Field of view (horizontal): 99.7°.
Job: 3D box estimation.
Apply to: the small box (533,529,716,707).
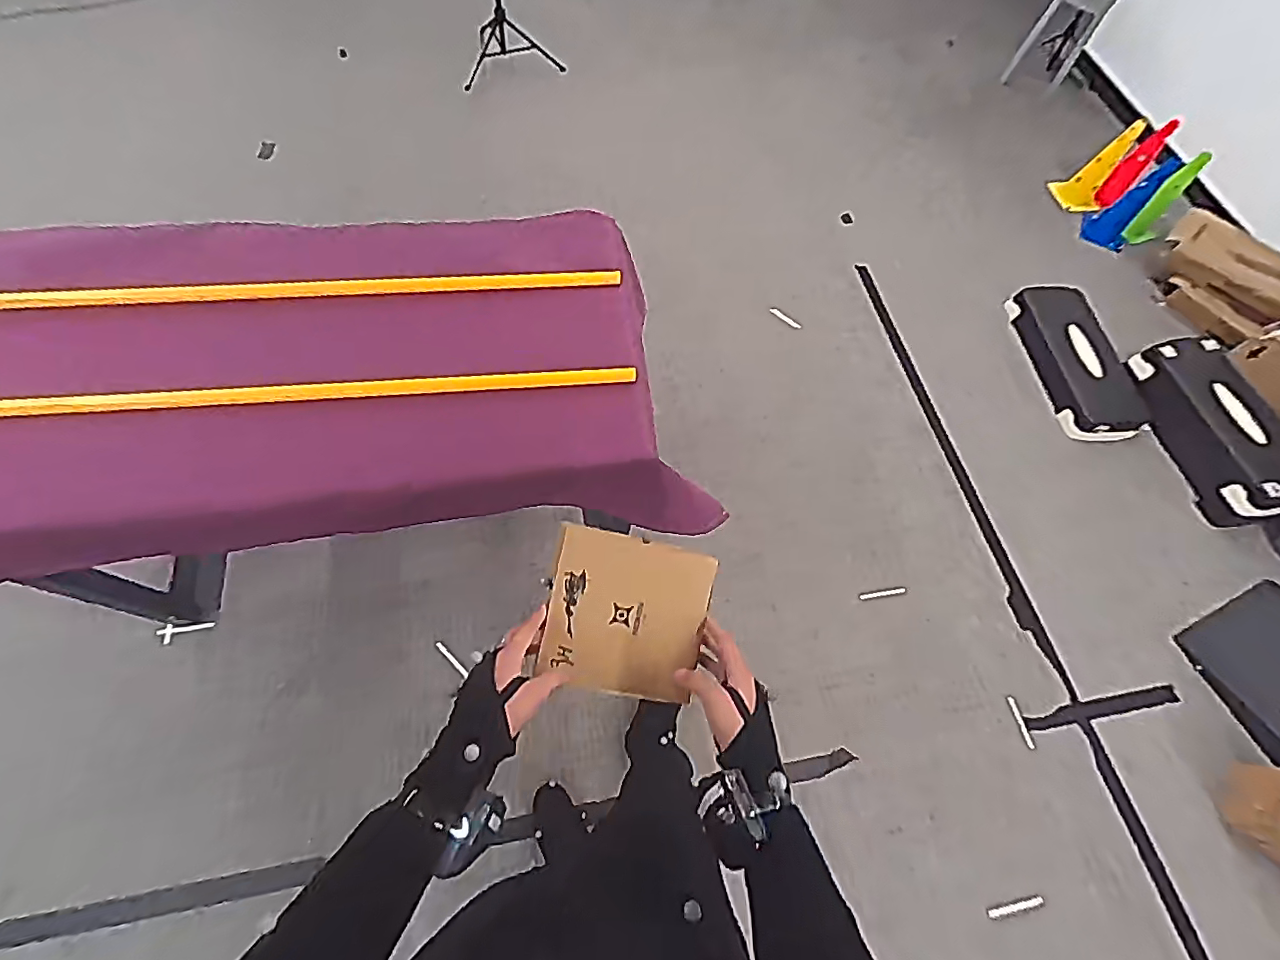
[{"bbox_3d":[-0.029,0.159,0.672,0.179,0.176,0.168,13,86,-10],"label":"small box"}]
